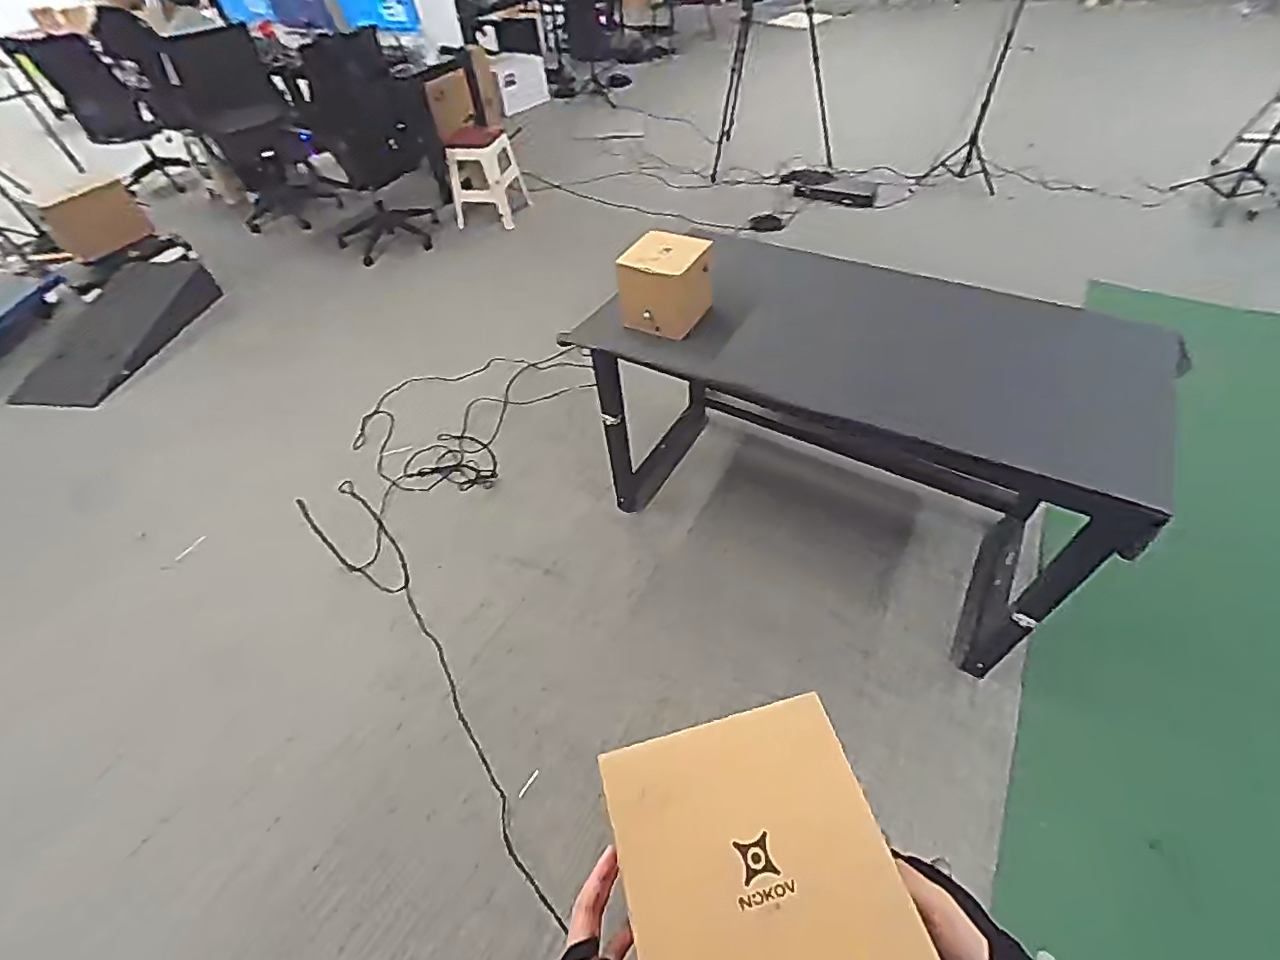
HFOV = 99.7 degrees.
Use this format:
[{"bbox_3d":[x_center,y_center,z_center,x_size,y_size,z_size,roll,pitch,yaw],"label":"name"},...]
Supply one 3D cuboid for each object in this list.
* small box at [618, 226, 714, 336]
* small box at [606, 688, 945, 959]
[{"bbox_3d":[0.063,-0.473,1.289,0.168,0.176,0.179,22,54,21],"label":"small box"},{"bbox_3d":[0.072,0.280,0.391,0.168,0.176,0.179,-11,53,-10],"label":"small box"}]
